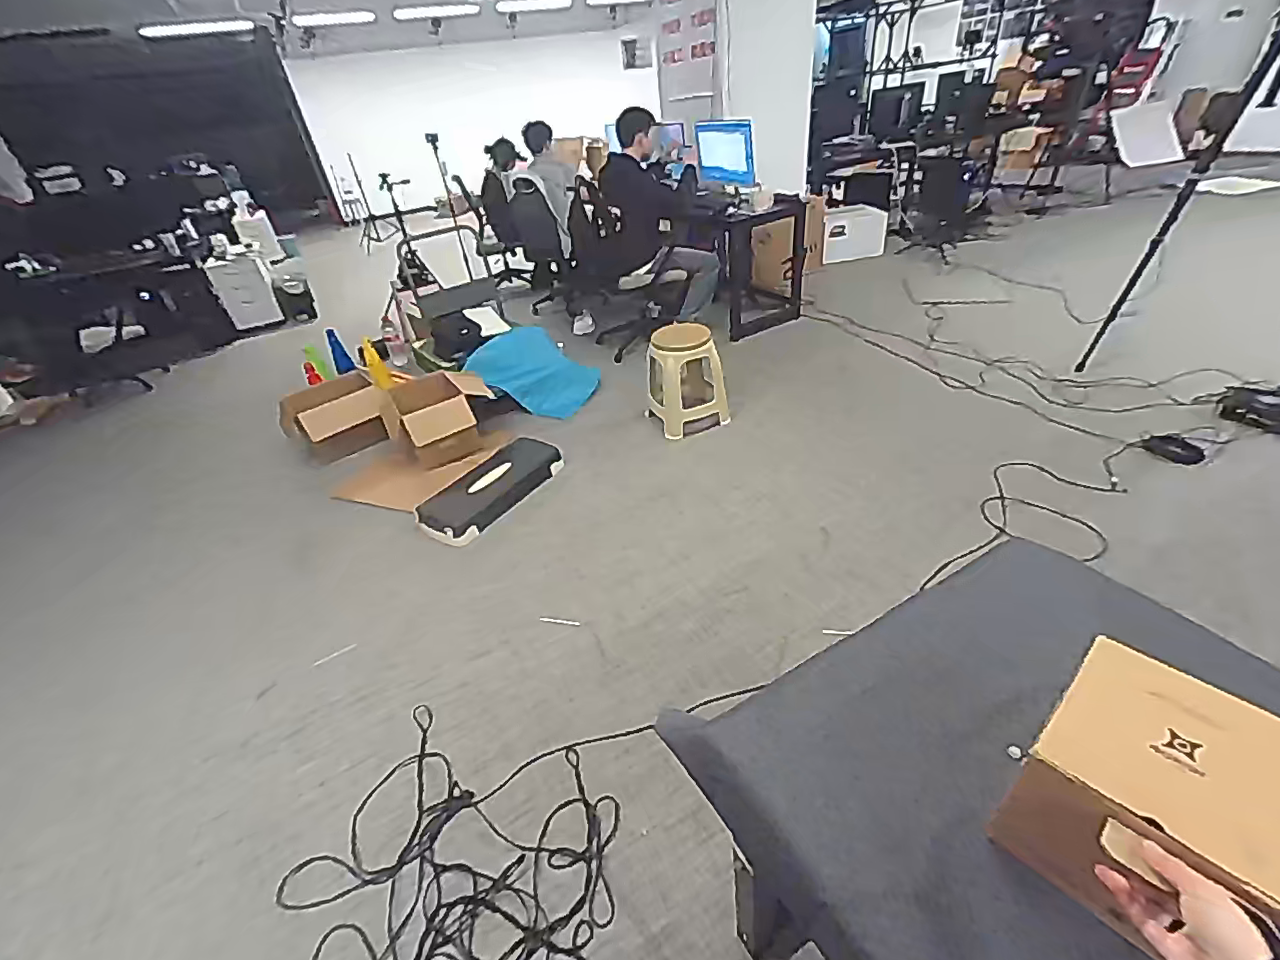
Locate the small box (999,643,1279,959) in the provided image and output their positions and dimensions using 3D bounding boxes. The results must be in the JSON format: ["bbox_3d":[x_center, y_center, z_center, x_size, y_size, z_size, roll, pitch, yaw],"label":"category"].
[{"bbox_3d":[0.466,0.299,0.501,0.179,0.176,0.168,-31,42,-30],"label":"small box"}]
